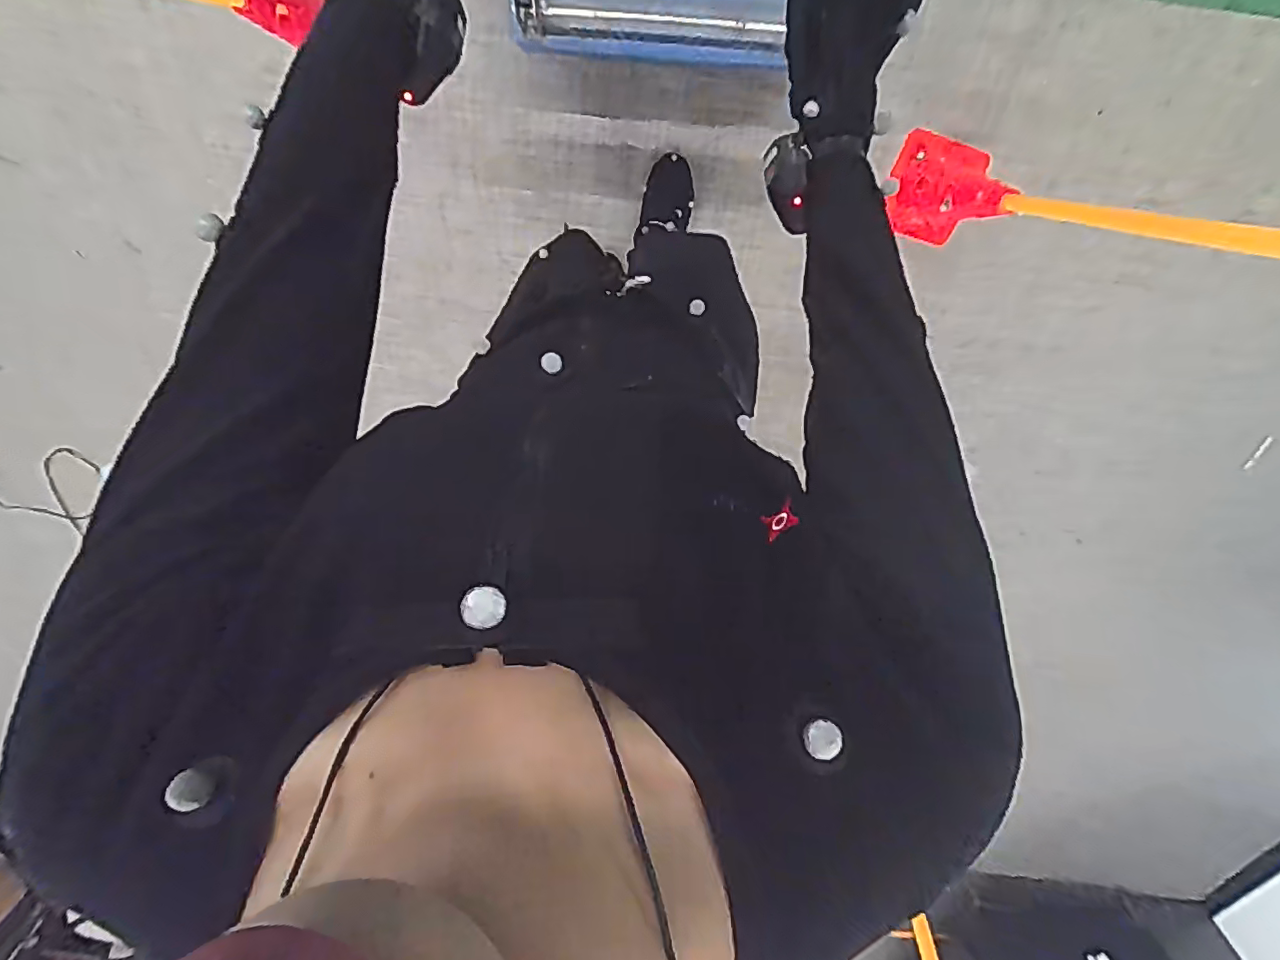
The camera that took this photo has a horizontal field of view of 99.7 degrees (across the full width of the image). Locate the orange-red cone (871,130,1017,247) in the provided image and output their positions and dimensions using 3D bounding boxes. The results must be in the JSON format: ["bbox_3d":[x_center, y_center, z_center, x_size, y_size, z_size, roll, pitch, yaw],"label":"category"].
[{"bbox_3d":[0.638,-0.561,1.073,0.198,0.360,0.199,17,122,-6],"label":"orange-red cone"}]
